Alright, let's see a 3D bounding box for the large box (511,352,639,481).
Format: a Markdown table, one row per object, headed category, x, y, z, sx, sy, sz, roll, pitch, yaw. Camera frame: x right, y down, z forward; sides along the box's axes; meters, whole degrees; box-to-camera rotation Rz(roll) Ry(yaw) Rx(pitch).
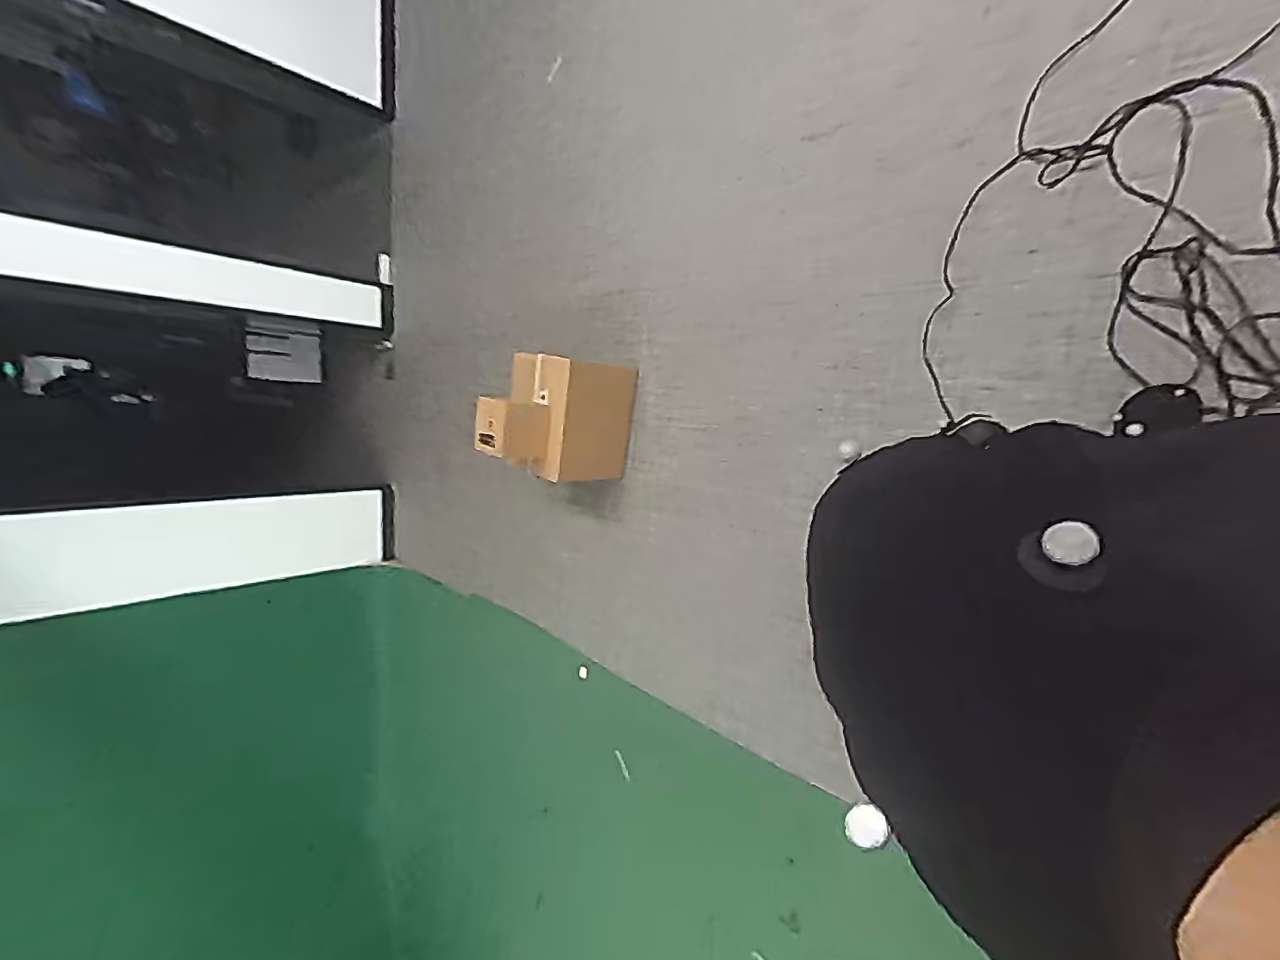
| category | x | y | z | sx | sy | sz | roll | pitch | yaw |
| --- | --- | --- | --- | --- | --- | --- | --- | --- | --- |
| large box | -0.232 | -0.223 | 1.924 | 0.320 | 0.320 | 0.408 | 17 | 104 | 41 |
